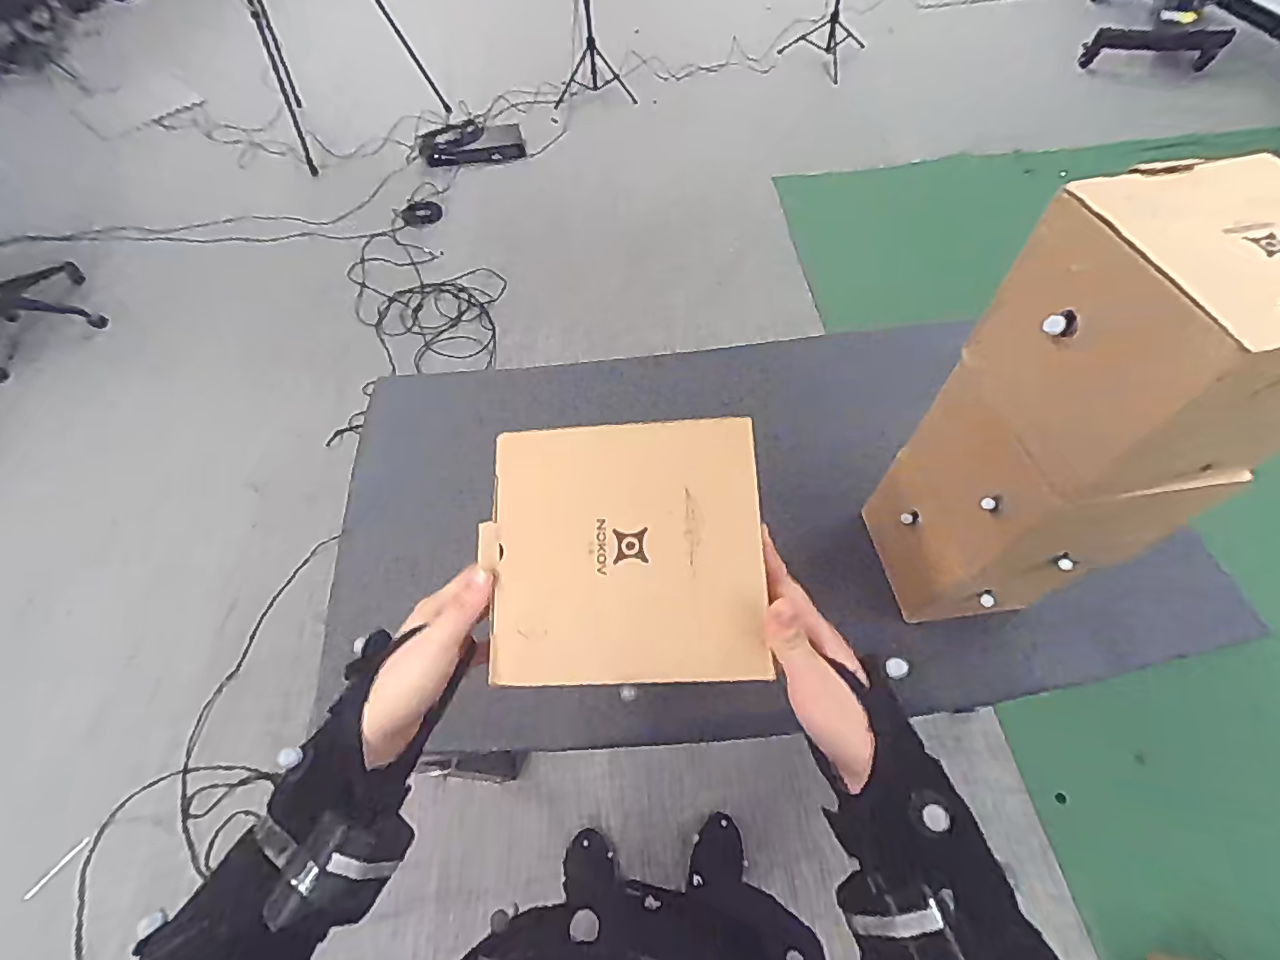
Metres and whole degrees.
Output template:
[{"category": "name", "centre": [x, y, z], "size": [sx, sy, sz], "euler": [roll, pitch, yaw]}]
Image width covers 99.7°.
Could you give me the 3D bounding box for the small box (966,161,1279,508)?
[{"category": "small box", "centre": [0.392, -0.104, 0.408], "size": [0.168, 0.176, 0.179], "euler": [-11, 57, -3]}]

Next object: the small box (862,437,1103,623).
[{"category": "small box", "centre": [0.409, 0.072, 0.685], "size": [0.168, 0.176, 0.179], "euler": [-7, 57, -2]}]
